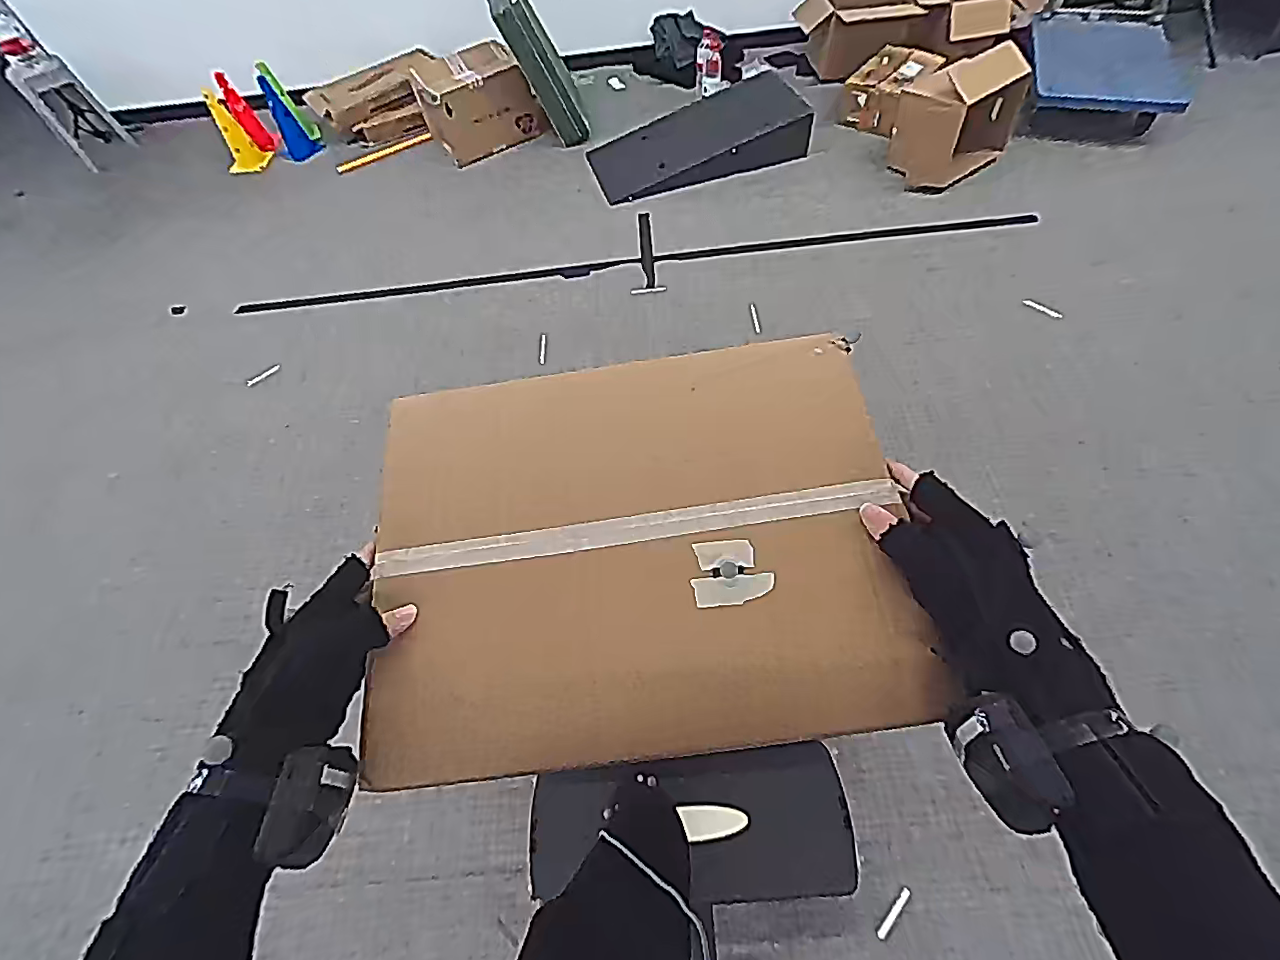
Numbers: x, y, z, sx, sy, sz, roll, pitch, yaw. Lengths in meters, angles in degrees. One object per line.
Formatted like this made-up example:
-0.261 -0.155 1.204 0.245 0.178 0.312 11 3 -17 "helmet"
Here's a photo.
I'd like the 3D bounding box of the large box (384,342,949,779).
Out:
0.010 0.103 0.568 0.408 0.320 0.320 -8 65 2 "large box"
